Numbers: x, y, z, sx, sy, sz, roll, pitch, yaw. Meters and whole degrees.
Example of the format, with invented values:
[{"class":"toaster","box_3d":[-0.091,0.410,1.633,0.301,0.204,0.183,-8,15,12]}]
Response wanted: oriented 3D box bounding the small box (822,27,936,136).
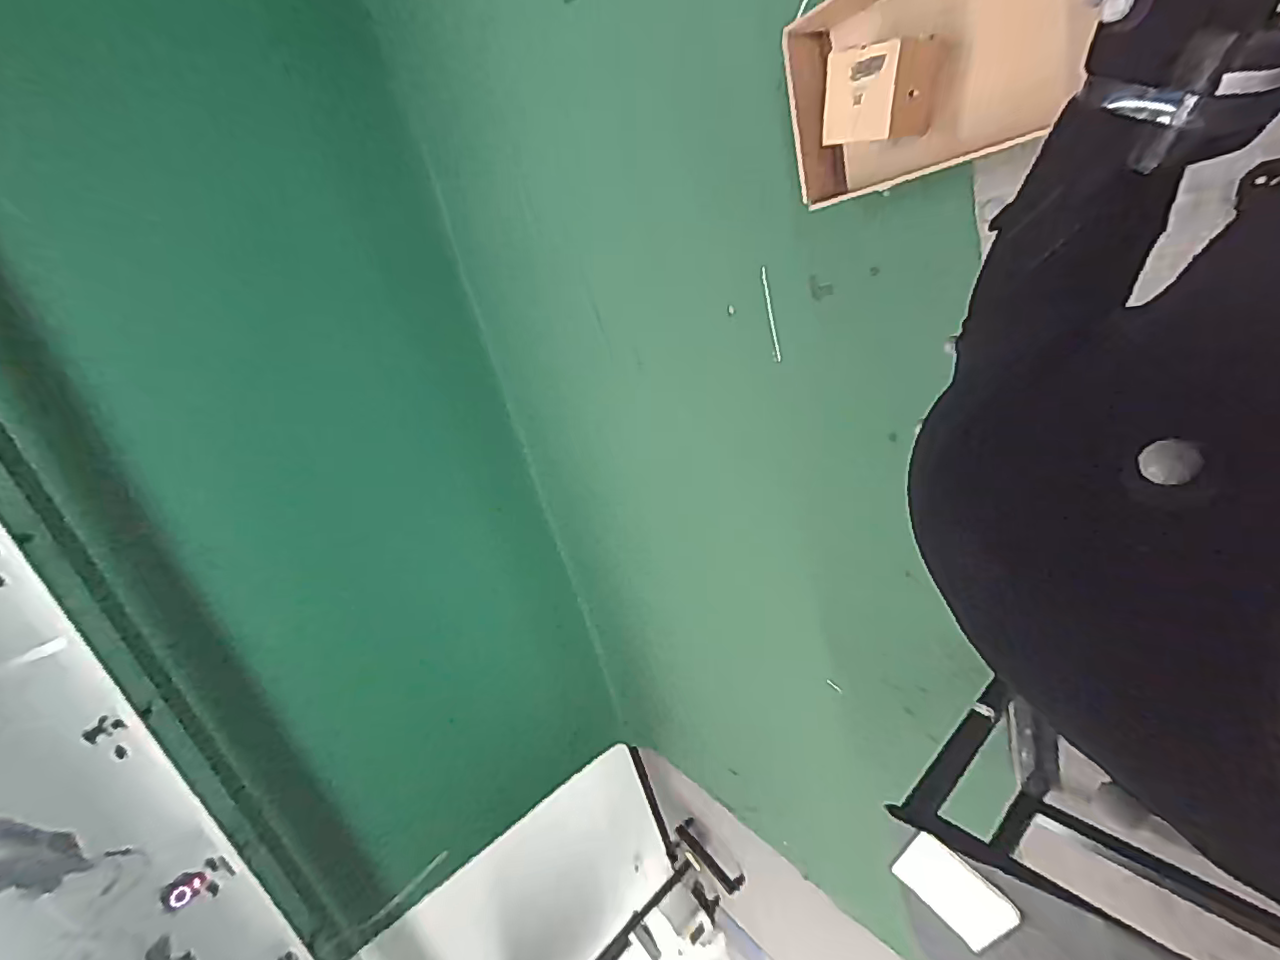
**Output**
[{"class":"small box","box_3d":[0.532,-0.878,1.204,0.168,0.176,0.179,28,134,42]}]
